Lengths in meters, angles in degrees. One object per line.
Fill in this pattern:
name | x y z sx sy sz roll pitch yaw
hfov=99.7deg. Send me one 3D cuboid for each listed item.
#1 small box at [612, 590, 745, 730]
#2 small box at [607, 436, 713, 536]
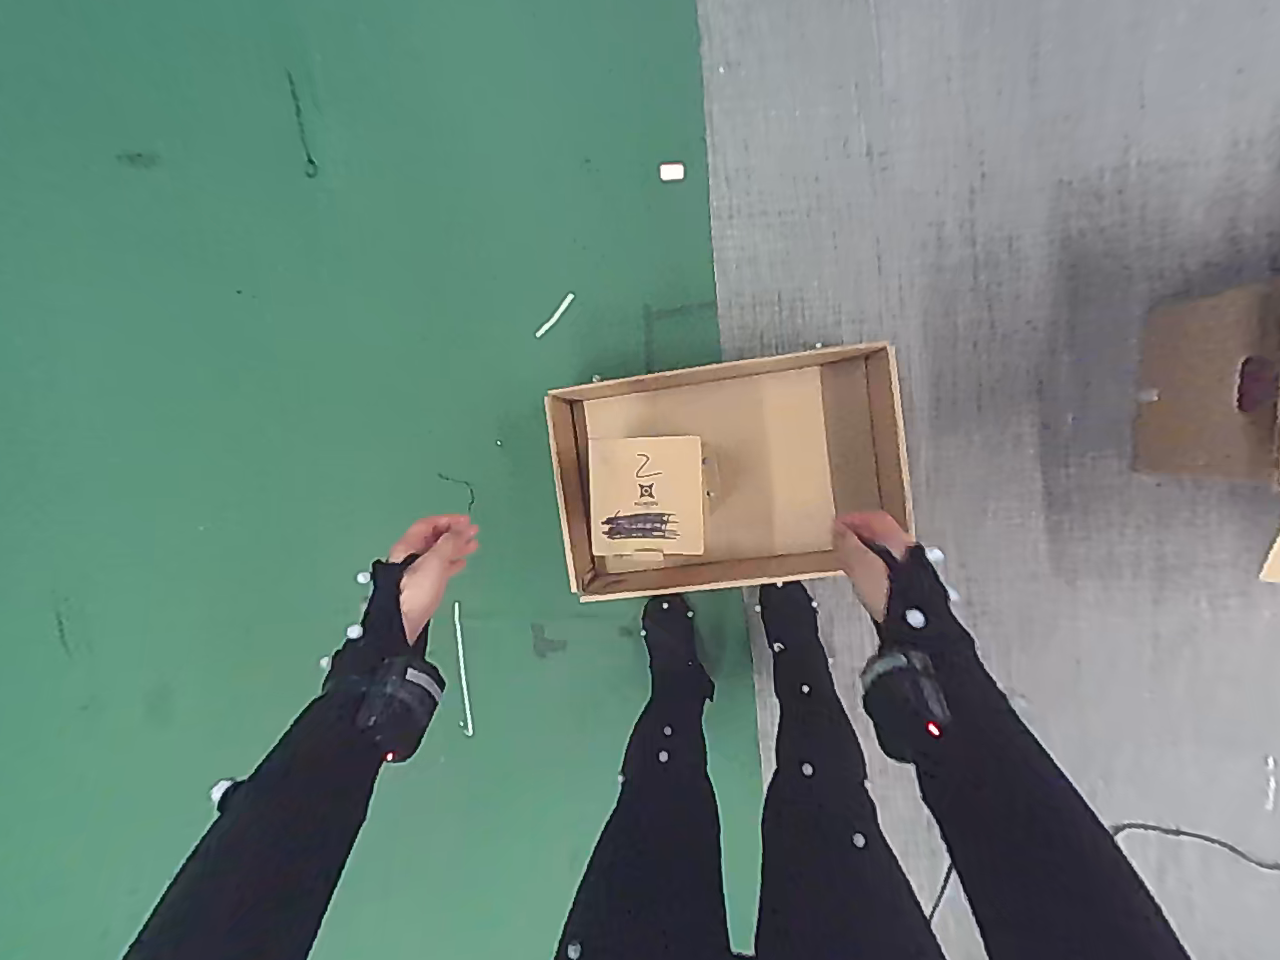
small box | 0.084 0.356 1.081 0.176 0.168 0.179 45 73 -25
small box | 0.044 0.010 1.031 0.179 0.176 0.168 -7 92 7
